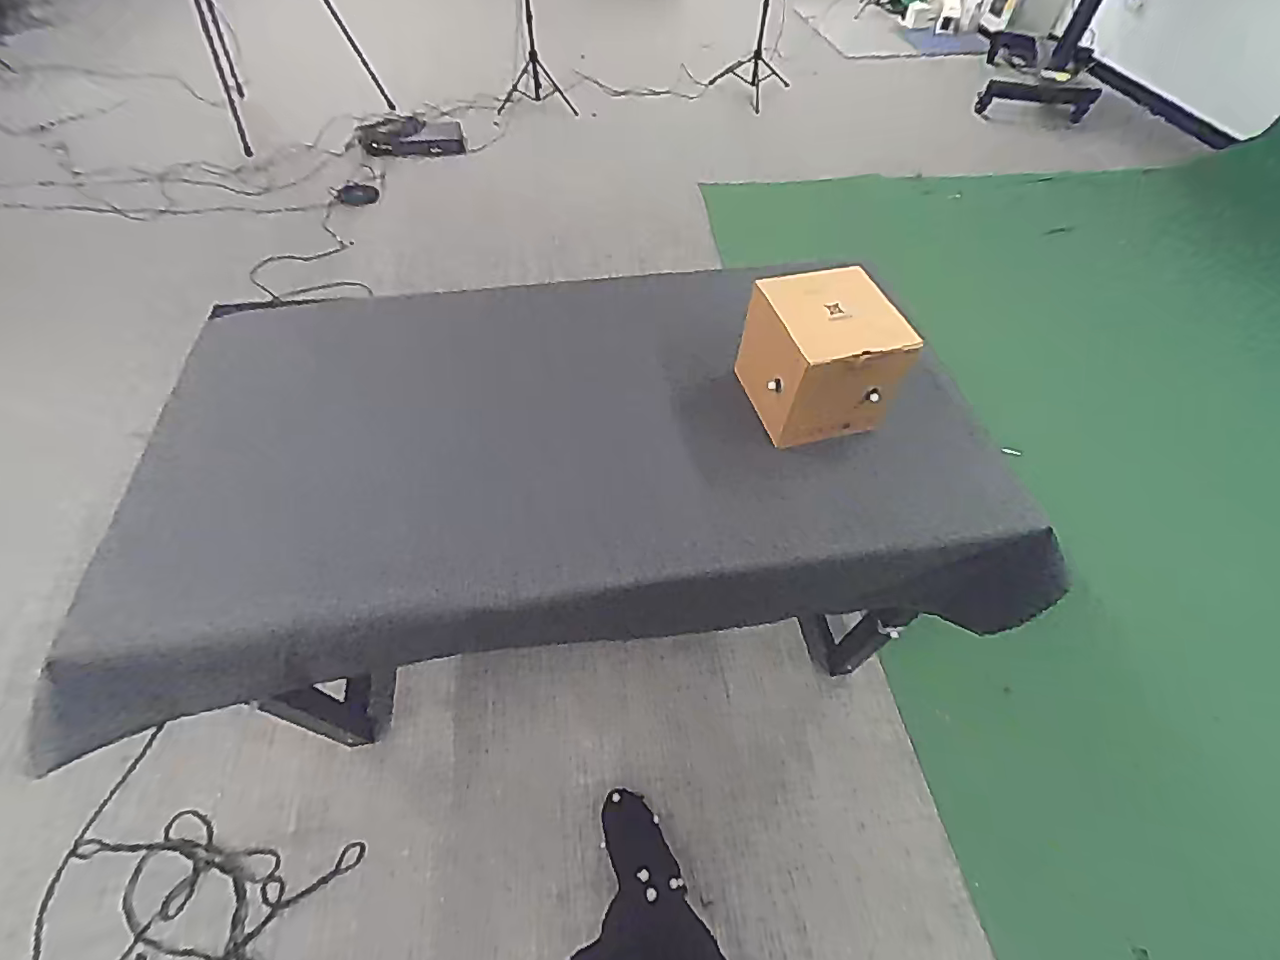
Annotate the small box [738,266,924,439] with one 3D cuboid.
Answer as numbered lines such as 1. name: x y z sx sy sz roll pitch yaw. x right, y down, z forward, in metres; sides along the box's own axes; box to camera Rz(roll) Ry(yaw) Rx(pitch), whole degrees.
1. small box: 0.256 -0.175 0.774 0.168 0.176 0.179 -11 54 -11
